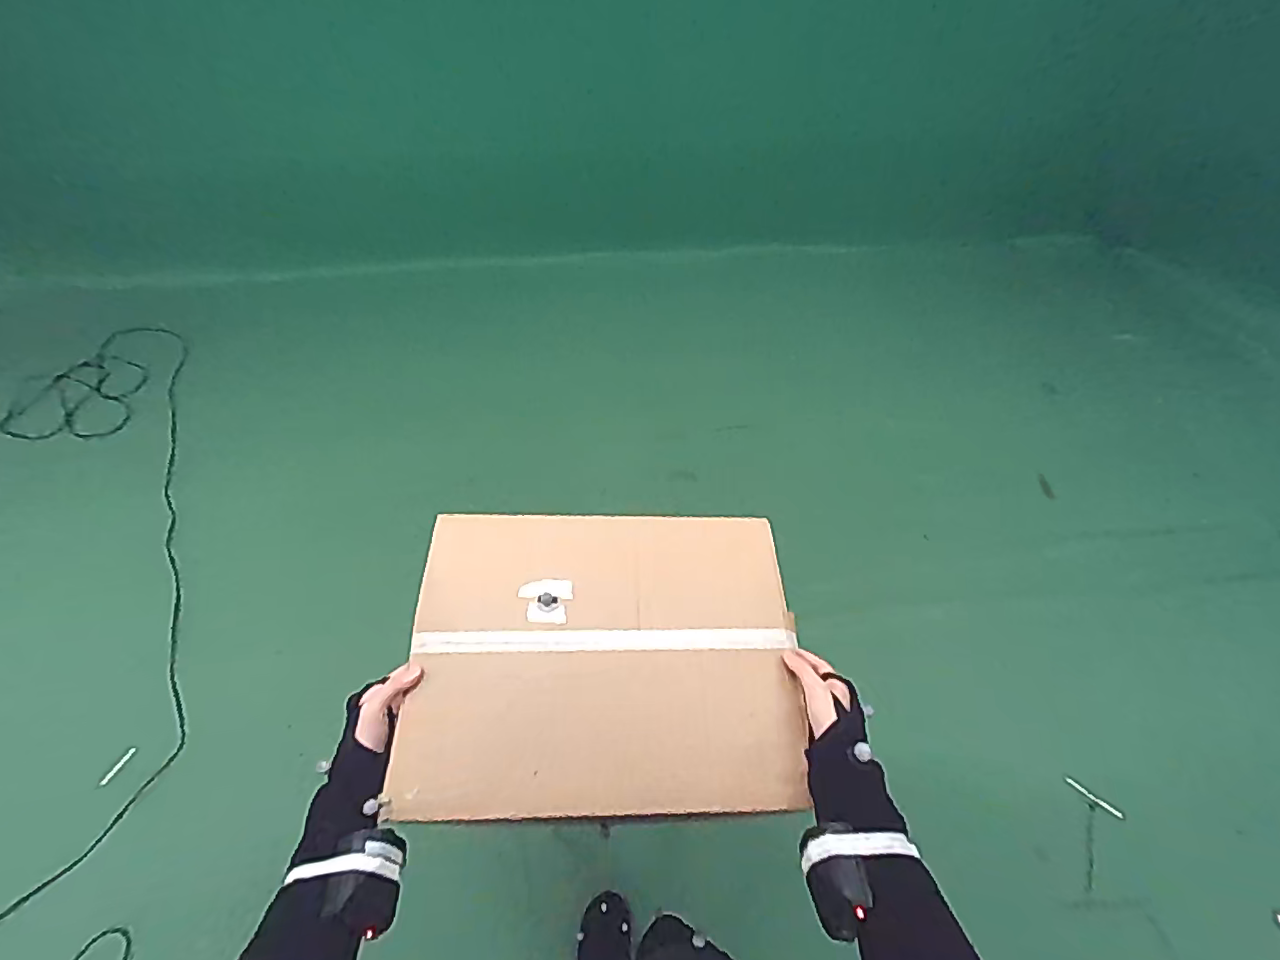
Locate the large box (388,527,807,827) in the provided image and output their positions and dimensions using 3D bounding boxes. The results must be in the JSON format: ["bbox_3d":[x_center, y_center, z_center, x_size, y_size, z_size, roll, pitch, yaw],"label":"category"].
[{"bbox_3d":[-0.046,0.269,0.713,0.408,0.320,0.320,1,56,-3],"label":"large box"}]
